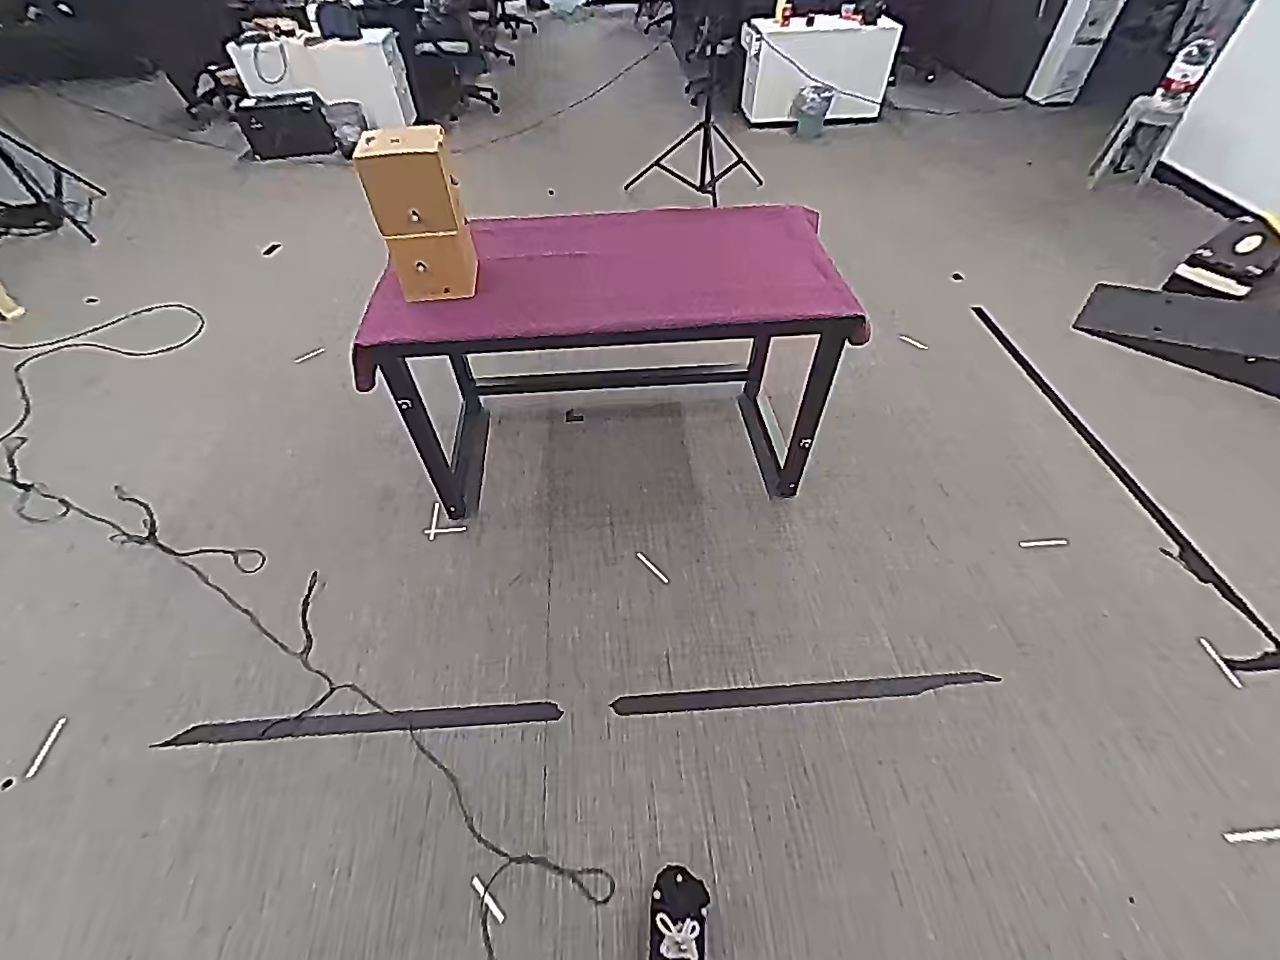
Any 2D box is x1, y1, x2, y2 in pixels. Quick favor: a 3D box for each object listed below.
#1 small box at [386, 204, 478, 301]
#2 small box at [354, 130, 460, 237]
[{"bbox_3d":[-0.512,-0.564,1.357,0.168,0.176,0.179,-7,50,-5],"label":"small box"},{"bbox_3d":[-0.520,-0.675,1.236,0.179,0.176,0.168,-8,49,-7],"label":"small box"}]
